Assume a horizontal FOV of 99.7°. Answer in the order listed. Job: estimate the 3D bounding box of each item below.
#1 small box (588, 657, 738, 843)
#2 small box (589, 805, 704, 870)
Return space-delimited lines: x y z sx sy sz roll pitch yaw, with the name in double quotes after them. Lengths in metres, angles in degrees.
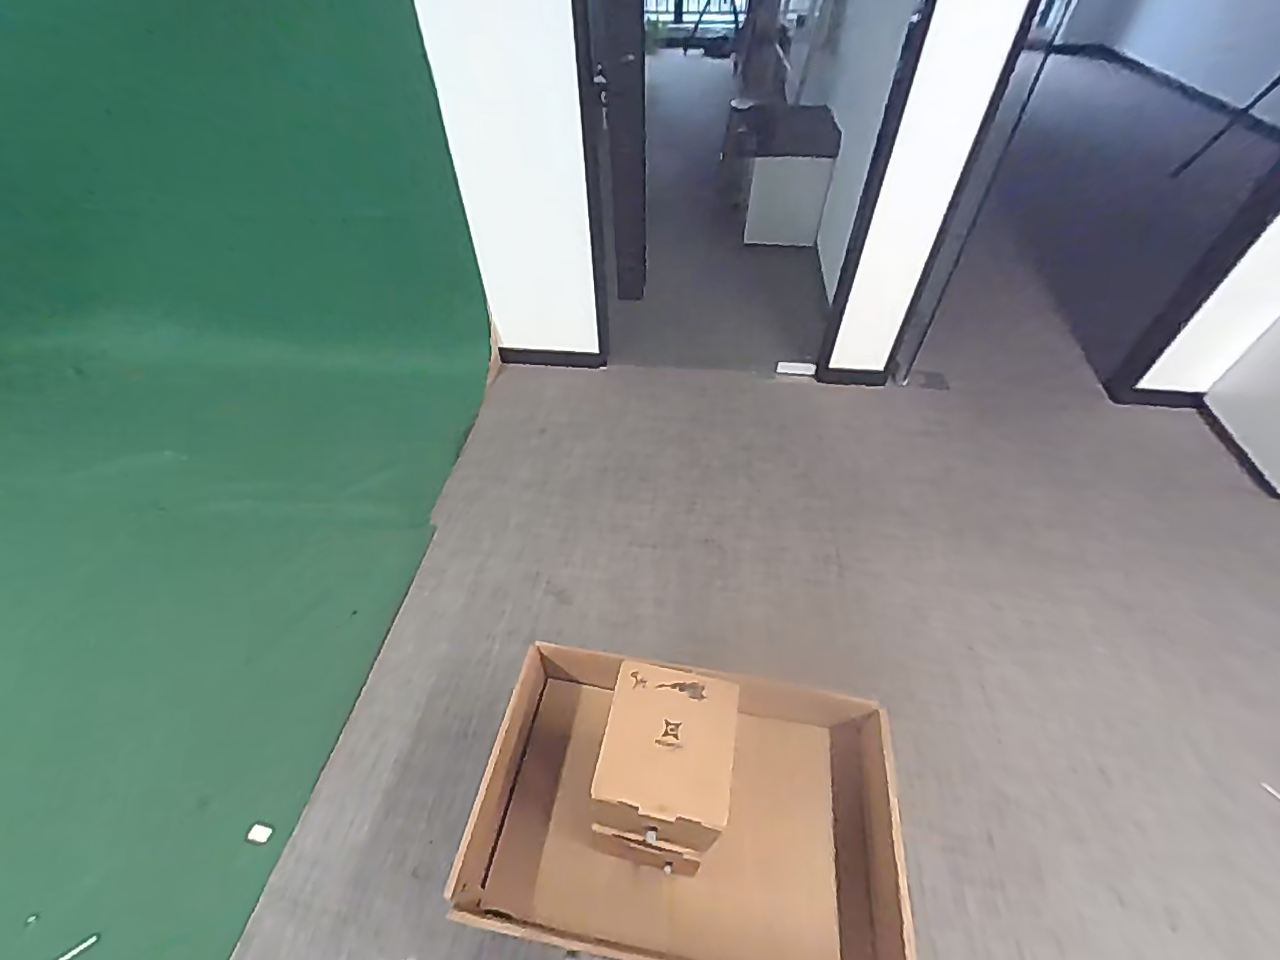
0.033 0.376 0.747 0.168 0.176 0.179 11 50 6 "small box"
0.024 0.493 0.863 0.168 0.176 0.179 11 47 7 "small box"
